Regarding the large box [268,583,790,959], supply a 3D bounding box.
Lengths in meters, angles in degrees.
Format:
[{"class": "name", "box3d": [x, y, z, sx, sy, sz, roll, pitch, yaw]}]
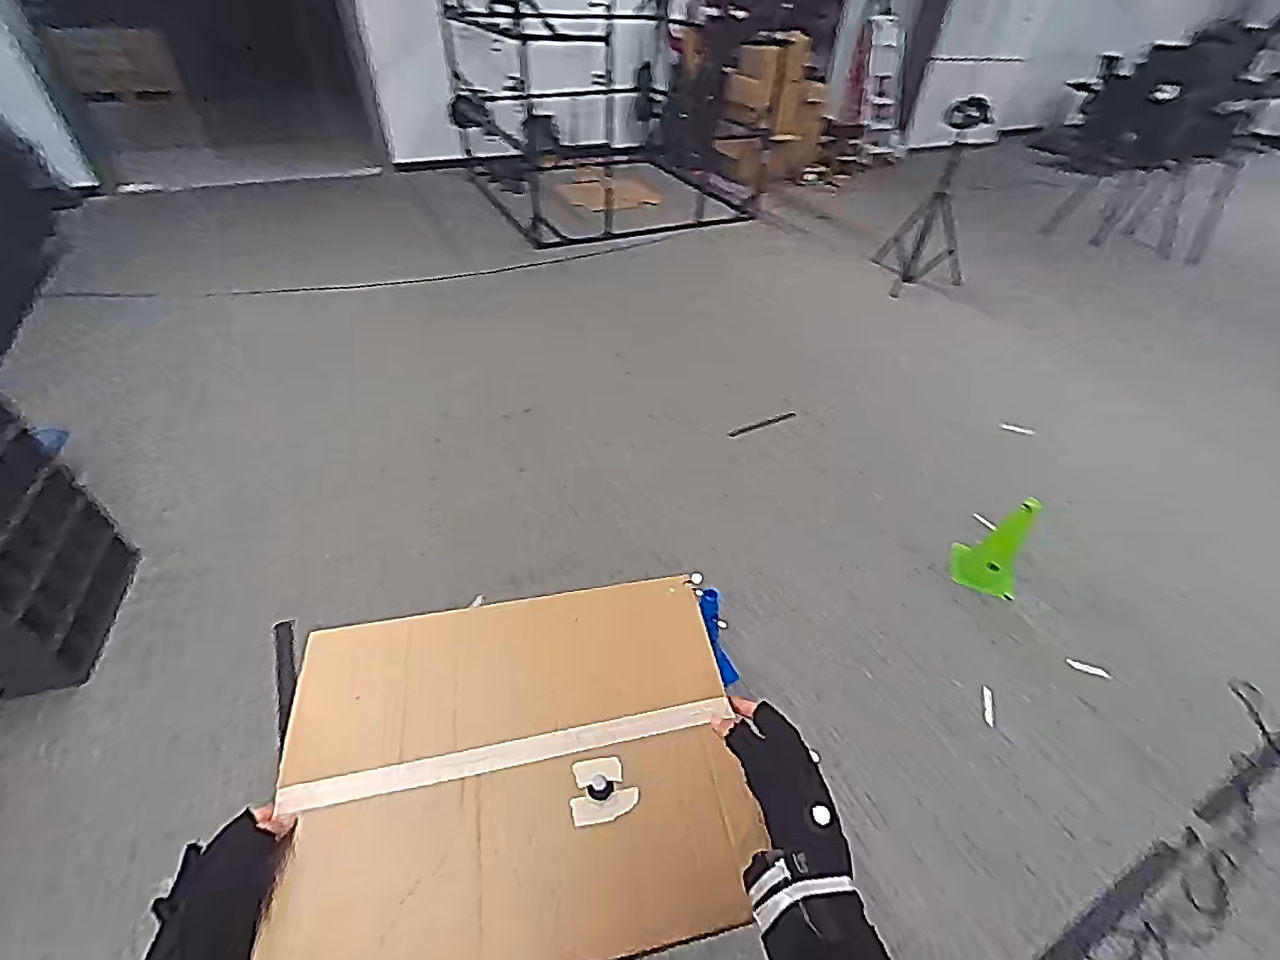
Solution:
[{"class": "large box", "box3d": [-0.109, 0.353, 0.608, 0.408, 0.320, 0.320, -5, 49, -10]}]

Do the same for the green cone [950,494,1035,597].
[{"class": "green cone", "box3d": [1.231, 0.190, 1.829, 0.202, 0.368, 0.200, 18, 44, 18]}]

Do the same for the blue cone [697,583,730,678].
[{"class": "blue cone", "box3d": [0.165, 0.428, 1.530, 0.193, 0.380, 0.192, -15, 45, -19]}]
